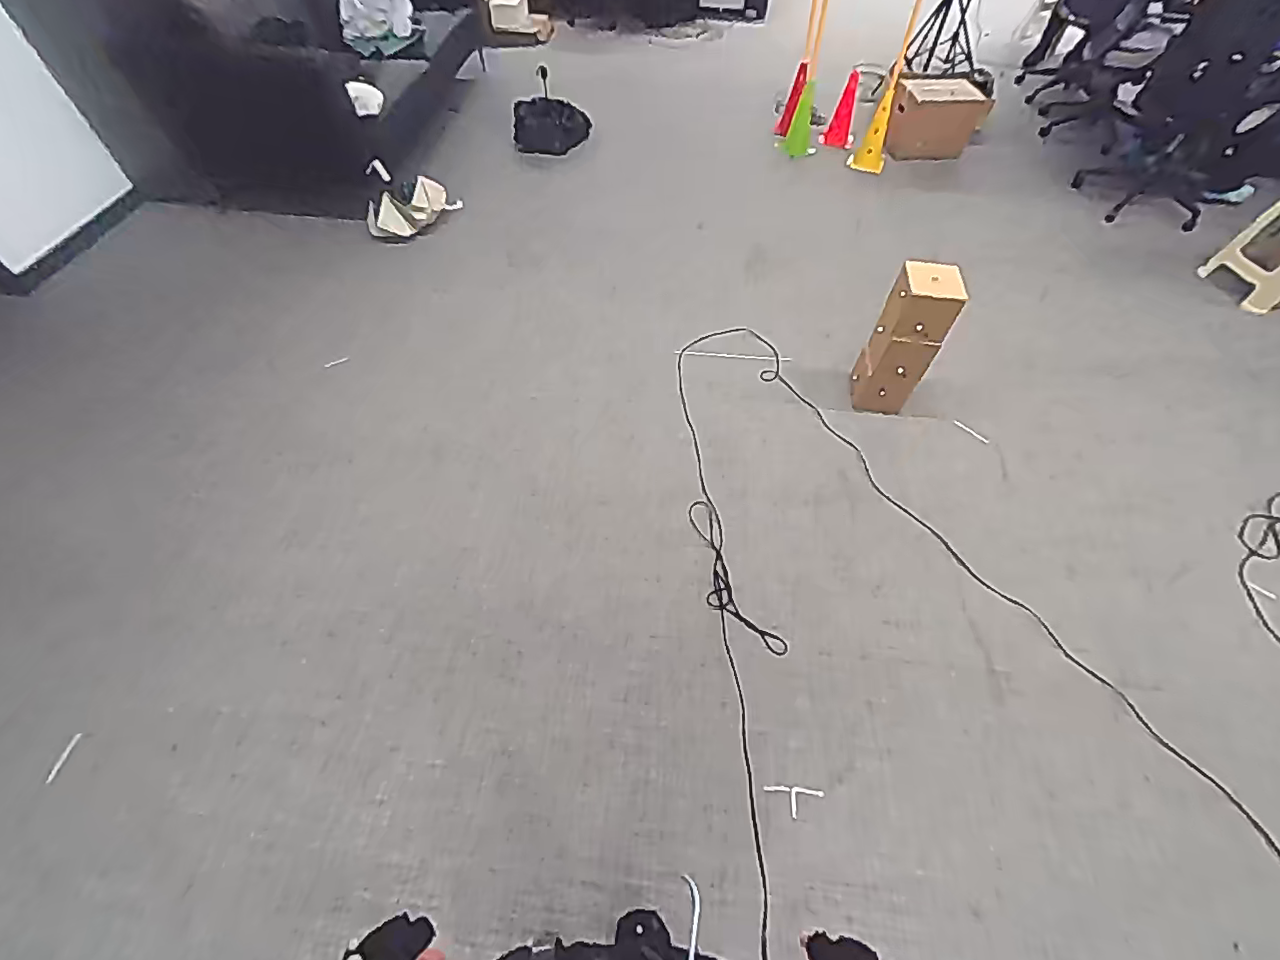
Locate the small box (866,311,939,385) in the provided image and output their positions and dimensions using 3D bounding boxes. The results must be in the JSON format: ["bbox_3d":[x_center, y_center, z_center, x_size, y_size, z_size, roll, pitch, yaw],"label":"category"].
[{"bbox_3d":[0.890,-0.453,1.850,0.168,0.176,0.179,8,55,4],"label":"small box"}]

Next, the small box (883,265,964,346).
[{"bbox_3d":[0.894,-0.555,1.723,0.168,0.176,0.179,8,55,4],"label":"small box"}]

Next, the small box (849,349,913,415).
[{"bbox_3d":[0.880,-0.357,1.983,0.179,0.176,0.168,7,54,4],"label":"small box"}]
